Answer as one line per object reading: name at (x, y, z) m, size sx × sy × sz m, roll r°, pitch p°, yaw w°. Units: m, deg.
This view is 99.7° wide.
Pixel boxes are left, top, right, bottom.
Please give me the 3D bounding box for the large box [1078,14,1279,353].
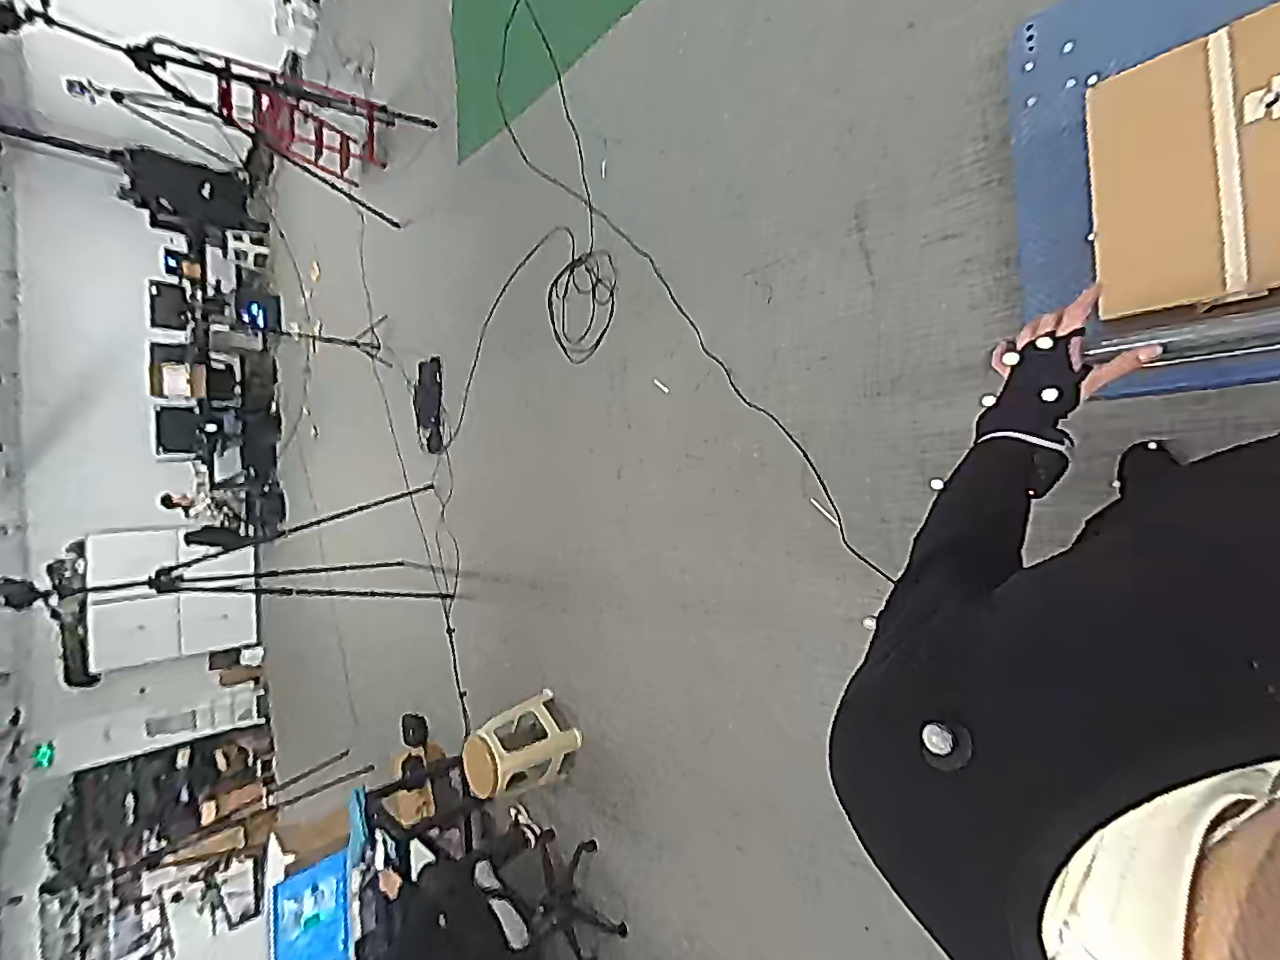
large box at (0.988, -0.471, 0.931) m, size 0.320 × 0.320 × 0.408 m, roll -5°, pitch 86°, yaw 44°
